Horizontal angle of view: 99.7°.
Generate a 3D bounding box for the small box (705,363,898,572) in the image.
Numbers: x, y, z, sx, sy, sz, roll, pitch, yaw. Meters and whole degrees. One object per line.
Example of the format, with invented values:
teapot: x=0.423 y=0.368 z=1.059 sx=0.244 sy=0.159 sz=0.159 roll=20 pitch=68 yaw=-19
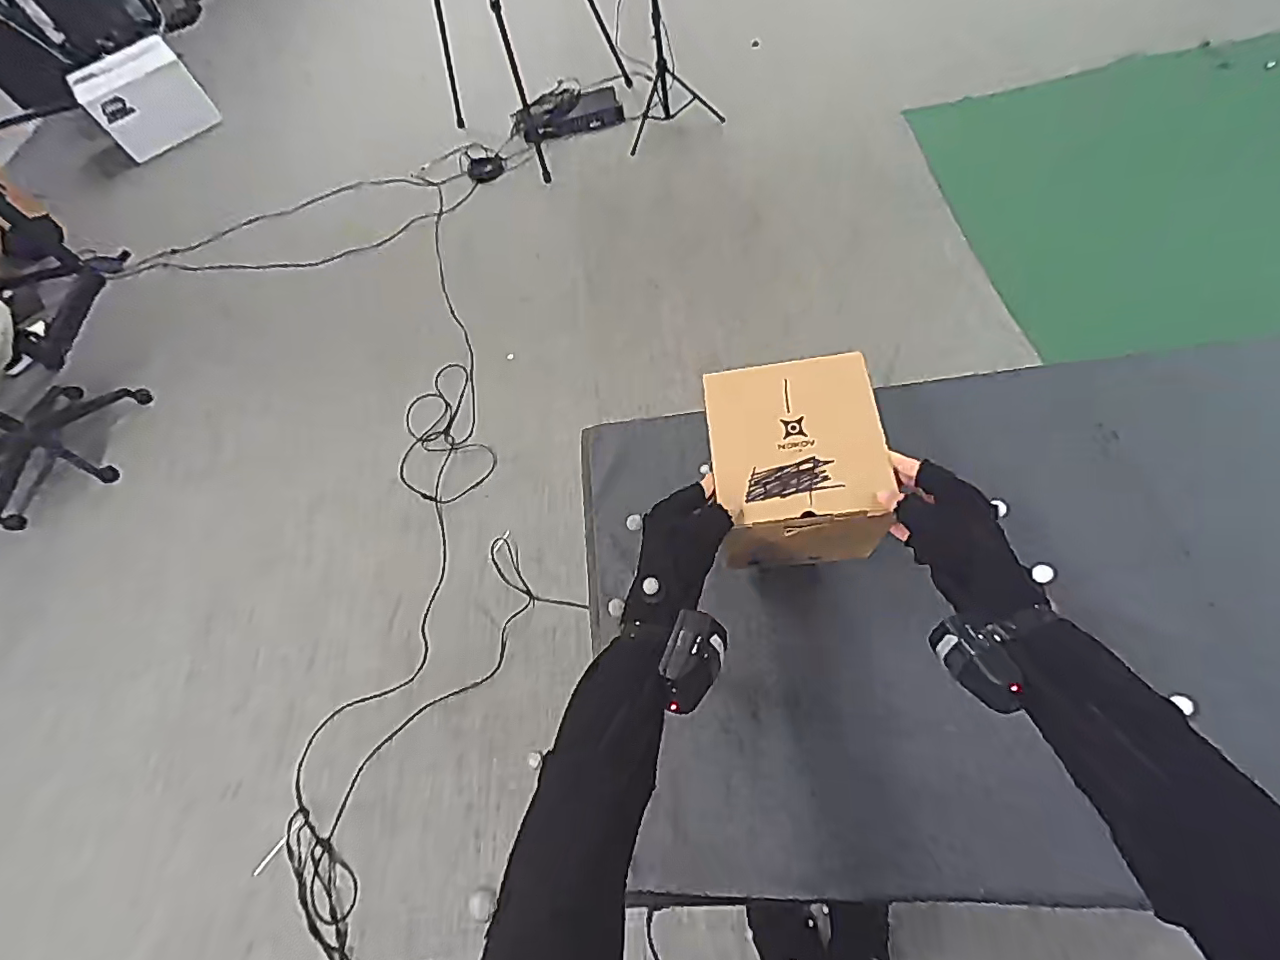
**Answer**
small box: x=0.167 y=-0.001 z=0.605 sx=0.168 sy=0.176 sz=0.179 roll=-7 pitch=64 yaw=9
